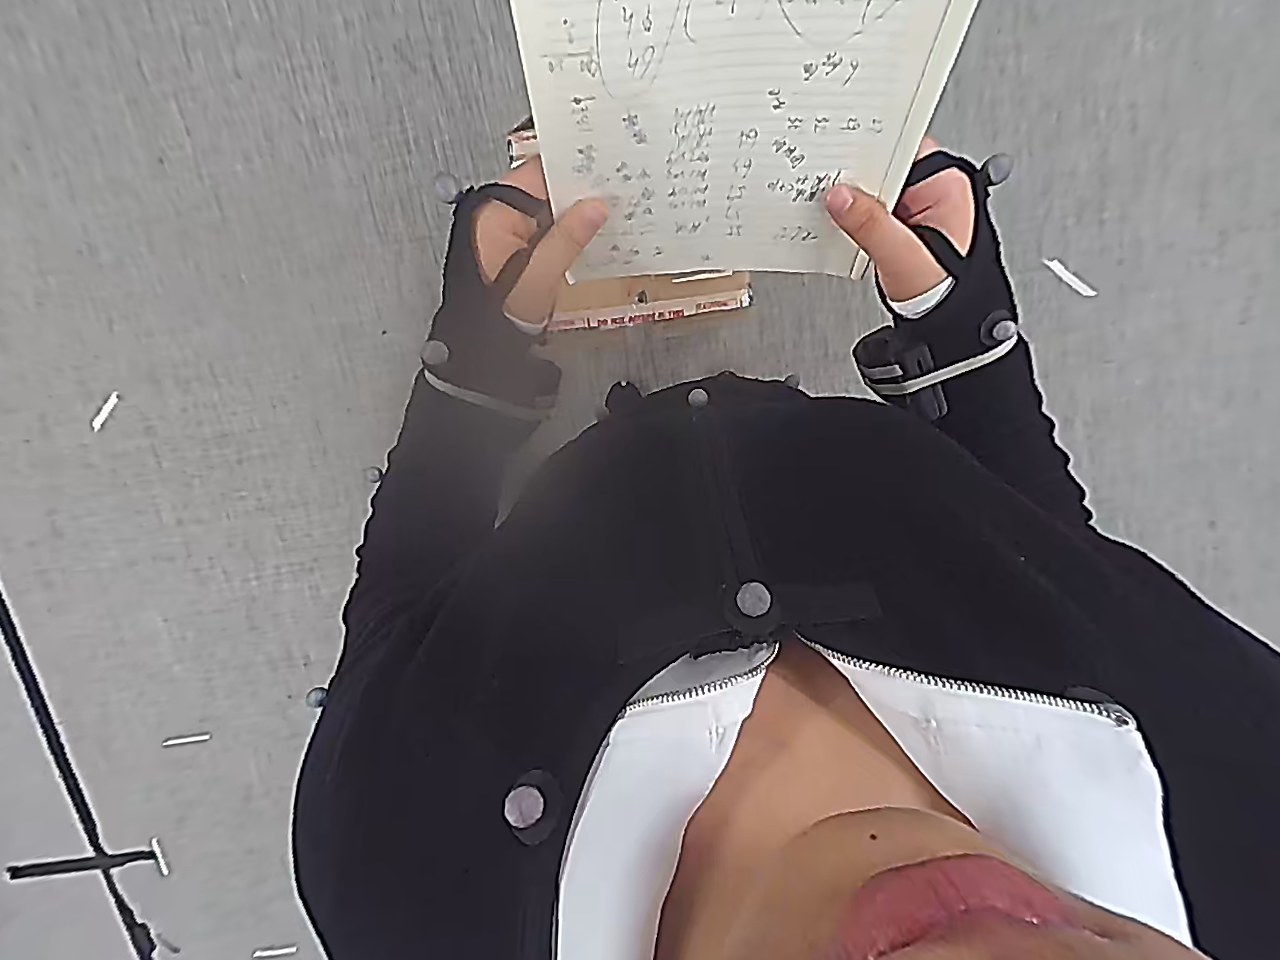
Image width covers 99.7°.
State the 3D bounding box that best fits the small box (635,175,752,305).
[{"bbox_3d":[0.090,-0.385,0.860,0.179,0.176,0.168,-11,101,2],"label":"small box"}]

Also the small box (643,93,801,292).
[{"bbox_3d":[0.096,-0.354,0.698,0.168,0.176,0.179,-8,102,1],"label":"small box"}]
